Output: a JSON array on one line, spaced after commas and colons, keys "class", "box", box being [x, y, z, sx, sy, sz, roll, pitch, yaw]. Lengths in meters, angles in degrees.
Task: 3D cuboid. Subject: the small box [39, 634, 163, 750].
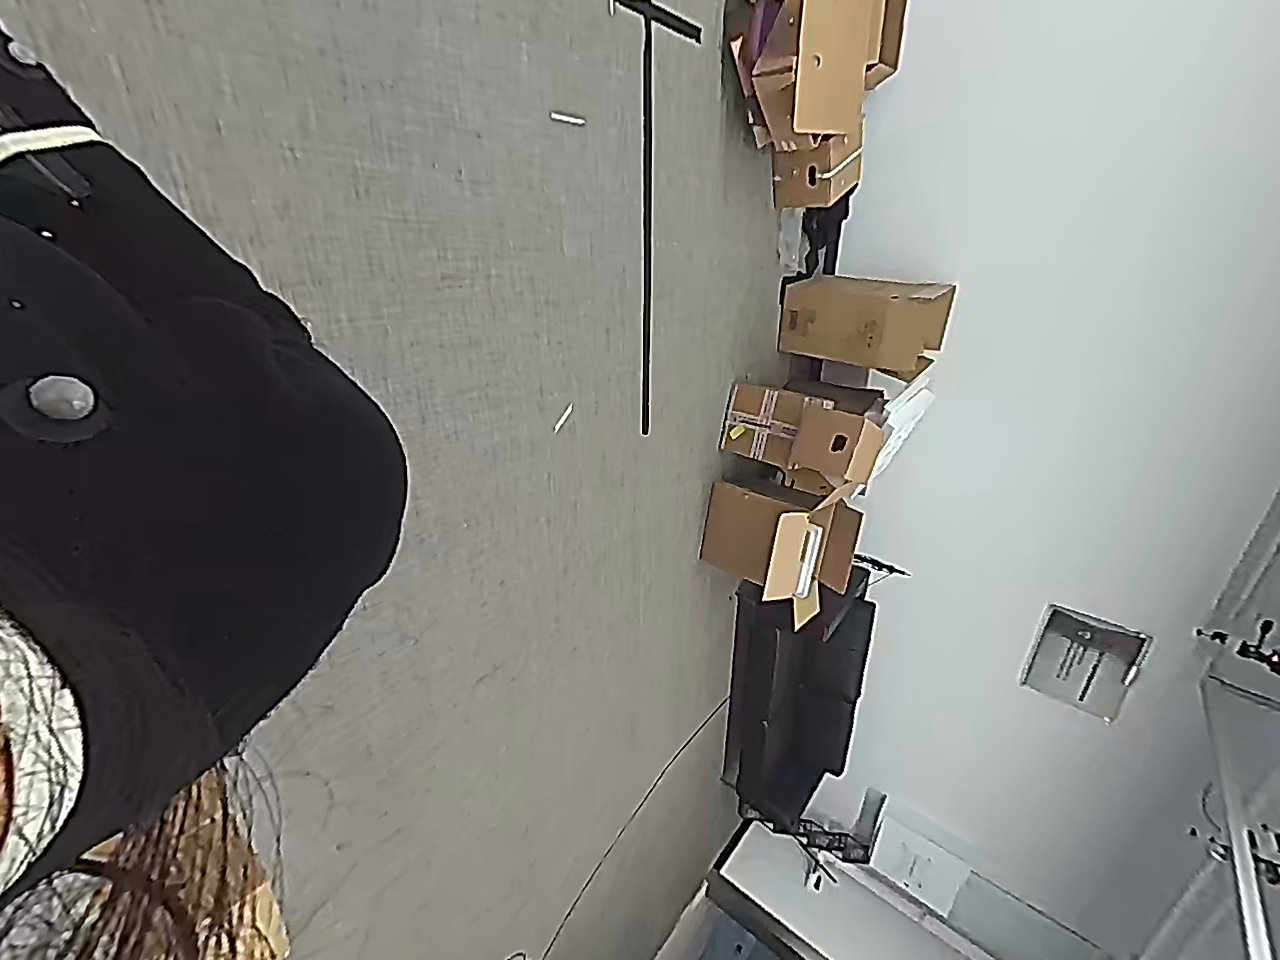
[{"class": "small box", "box": [-1.165, 0.470, 1.181, 0.179, 0.176, 0.168, -19, 120, -49]}]

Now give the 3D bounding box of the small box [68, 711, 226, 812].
[{"class": "small box", "box": [-0.909, 0.569, 1.005, 0.179, 0.176, 0.168, -19, 119, -49]}]

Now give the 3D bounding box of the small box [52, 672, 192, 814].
[{"class": "small box", "box": [-1.036, 0.520, 1.093, 0.179, 0.176, 0.168, -15, 116, -51]}]

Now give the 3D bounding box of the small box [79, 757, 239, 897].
[{"class": "small box", "box": [-0.788, 0.612, 0.901, 0.168, 0.176, 0.179, -20, 119, -50]}]

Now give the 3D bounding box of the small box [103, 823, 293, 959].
[{"class": "small box", "box": [-0.660, 0.662, 0.812, 0.168, 0.176, 0.179, -23, 121, -49]}]
